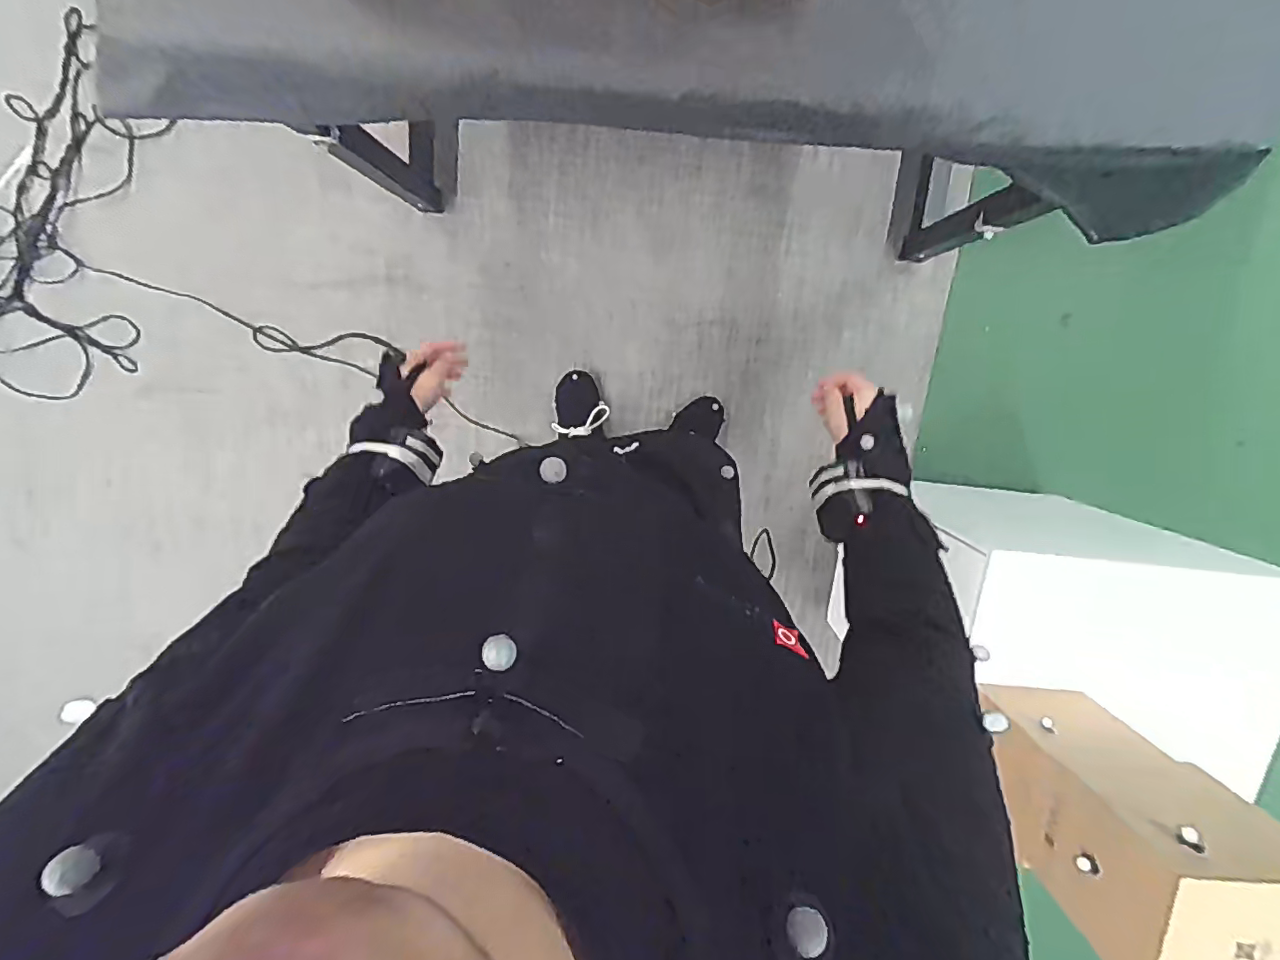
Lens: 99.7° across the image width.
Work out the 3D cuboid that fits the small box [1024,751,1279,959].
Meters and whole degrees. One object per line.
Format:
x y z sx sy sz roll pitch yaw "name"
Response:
0.583 0.433 0.612 0.179 0.176 0.168 2 102 0 "small box"
